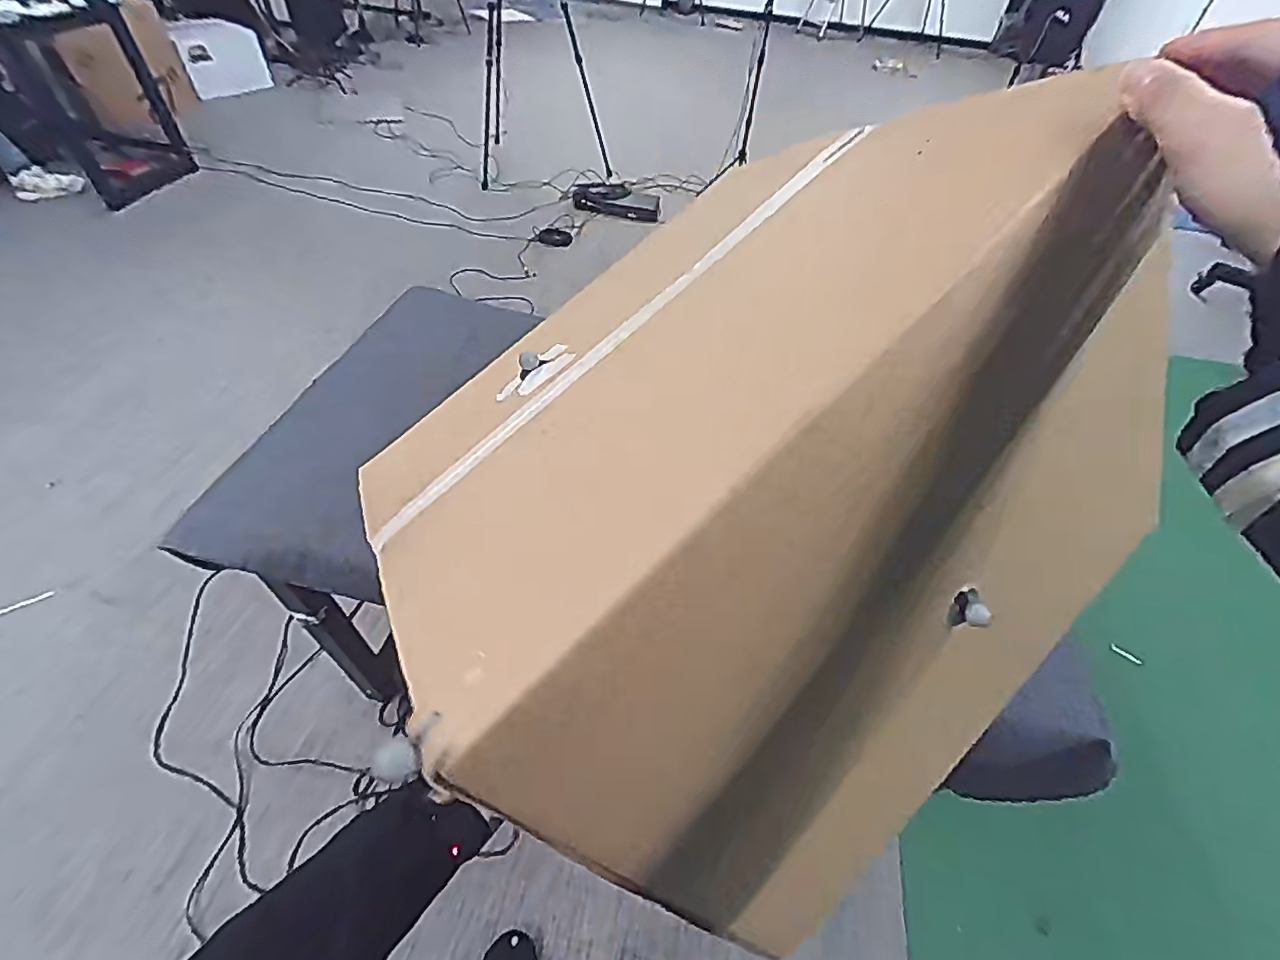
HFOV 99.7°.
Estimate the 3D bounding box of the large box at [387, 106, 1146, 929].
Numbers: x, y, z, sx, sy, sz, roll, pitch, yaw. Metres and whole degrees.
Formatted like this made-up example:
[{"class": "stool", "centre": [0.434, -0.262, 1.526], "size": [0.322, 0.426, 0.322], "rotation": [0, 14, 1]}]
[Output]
[{"class": "large box", "centre": [0.095, 0.014, 0.417], "size": [0.408, 0.320, 0.320], "rotation": [-45, 35, -10]}]
